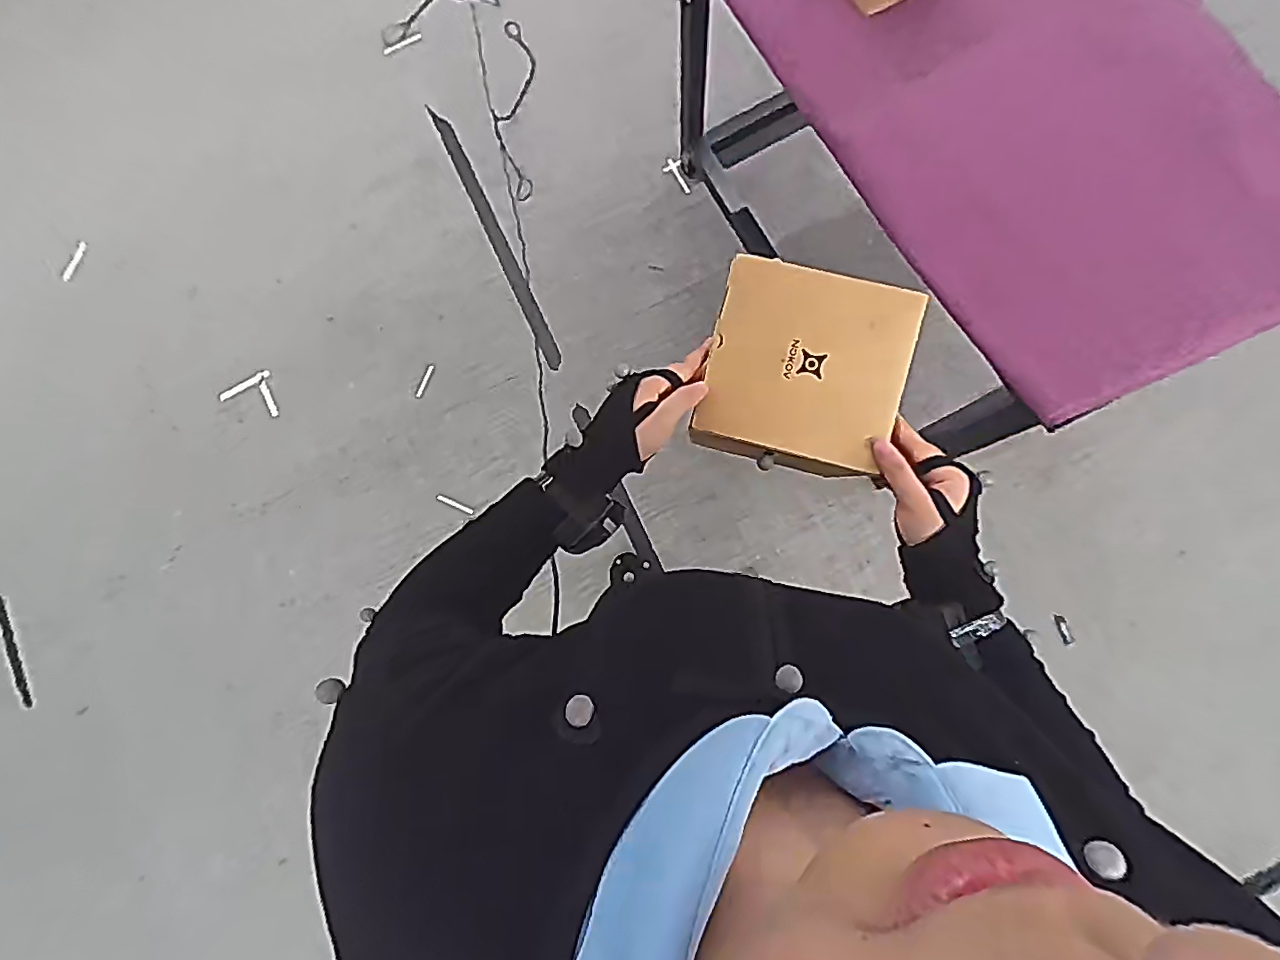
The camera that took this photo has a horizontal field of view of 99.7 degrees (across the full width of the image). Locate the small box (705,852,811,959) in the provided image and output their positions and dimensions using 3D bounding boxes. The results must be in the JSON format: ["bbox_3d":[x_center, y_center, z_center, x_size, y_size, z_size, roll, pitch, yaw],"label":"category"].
[{"bbox_3d":[0.262,1.006,1.250,0.168,0.176,0.179,-30,81,-1],"label":"small box"}]

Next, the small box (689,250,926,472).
[{"bbox_3d":[0.155,-0.109,0.560,0.179,0.176,0.168,14,91,6],"label":"small box"}]

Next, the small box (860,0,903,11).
[{"bbox_3d":[0.419,-0.911,0.853,0.168,0.176,0.179,-27,81,0],"label":"small box"}]
